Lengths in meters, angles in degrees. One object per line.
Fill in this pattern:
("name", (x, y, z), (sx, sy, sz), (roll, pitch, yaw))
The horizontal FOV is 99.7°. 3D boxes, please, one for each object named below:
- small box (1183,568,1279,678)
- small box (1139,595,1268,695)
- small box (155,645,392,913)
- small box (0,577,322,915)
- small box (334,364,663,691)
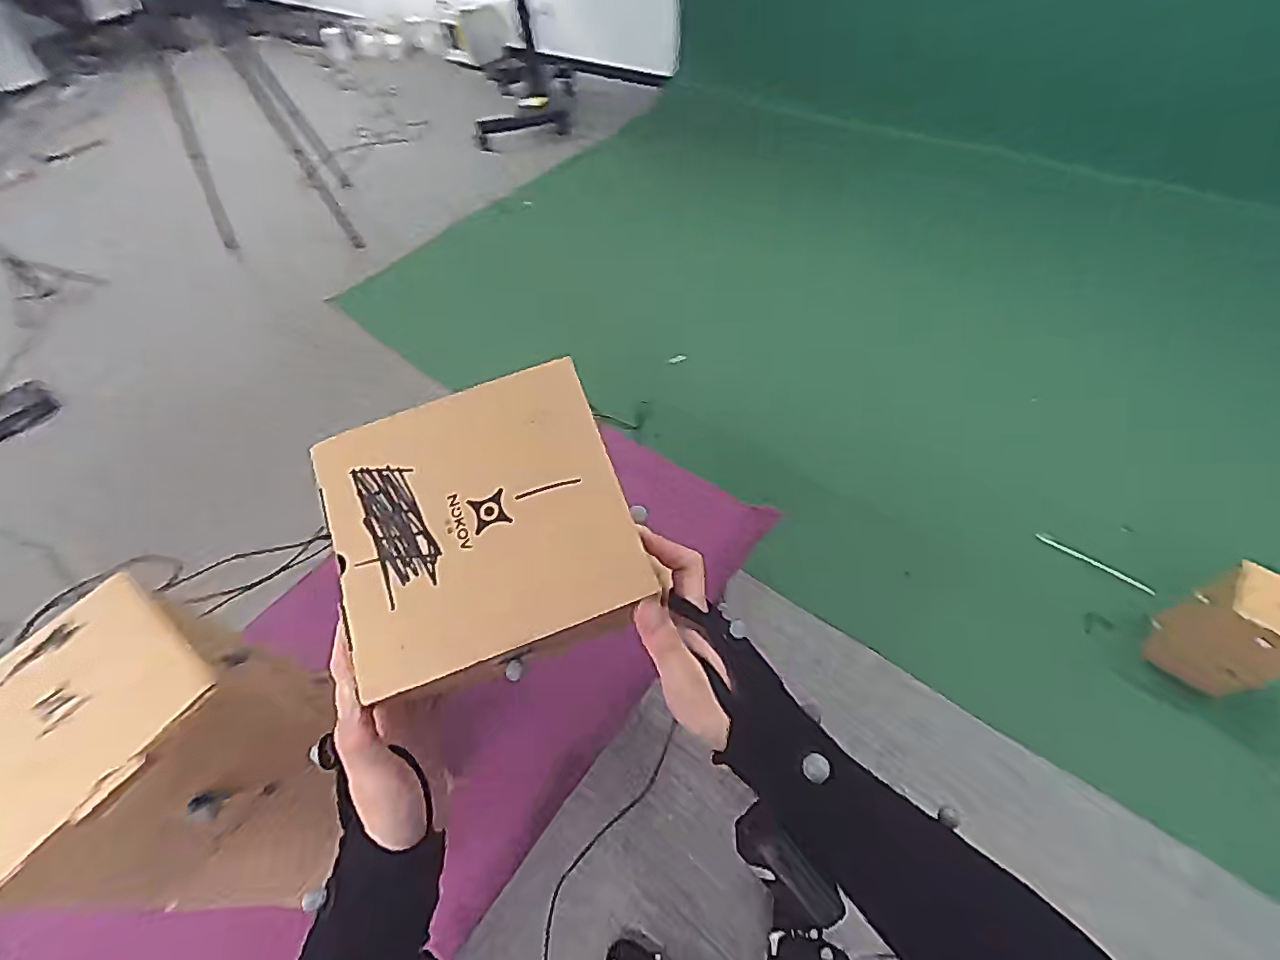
("small box", (1.472, 0.348, 1.288), (0.179, 0.176, 0.168), (32, 63, 25))
("small box", (1.486, 0.441, 1.421), (0.179, 0.176, 0.168), (33, 63, 25))
("small box", (-0.404, 0.322, 0.591), (0.168, 0.176, 0.179), (29, 61, 25))
("small box", (-0.422, 0.221, 0.464), (0.179, 0.176, 0.168), (28, 60, 23))
("small box", (-0.088, 0.047, 0.405), (0.179, 0.176, 0.168), (-19, 71, -5))
